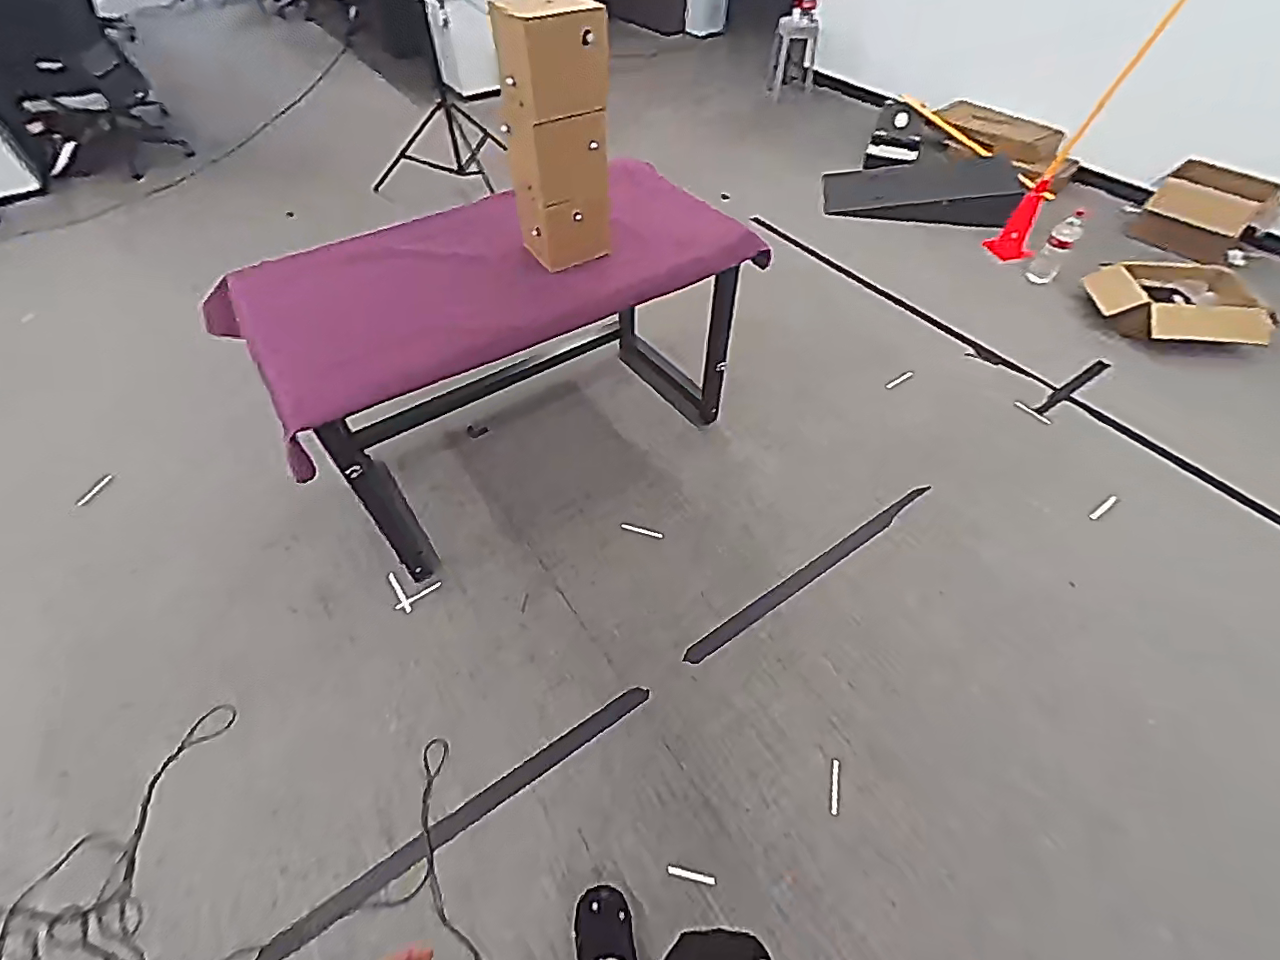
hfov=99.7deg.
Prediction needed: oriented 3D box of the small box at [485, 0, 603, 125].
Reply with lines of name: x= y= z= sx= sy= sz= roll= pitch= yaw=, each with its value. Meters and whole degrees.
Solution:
small box: x=-0.188 y=-0.855 z=1.098 sx=0.179 sy=0.176 sz=0.168 roll=-28 pitch=57 yaw=-20

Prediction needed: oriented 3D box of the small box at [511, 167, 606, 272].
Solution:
small box: x=-0.198 y=-0.650 z=1.356 sx=0.179 sy=0.176 sz=0.168 roll=-28 pitch=58 yaw=-20
